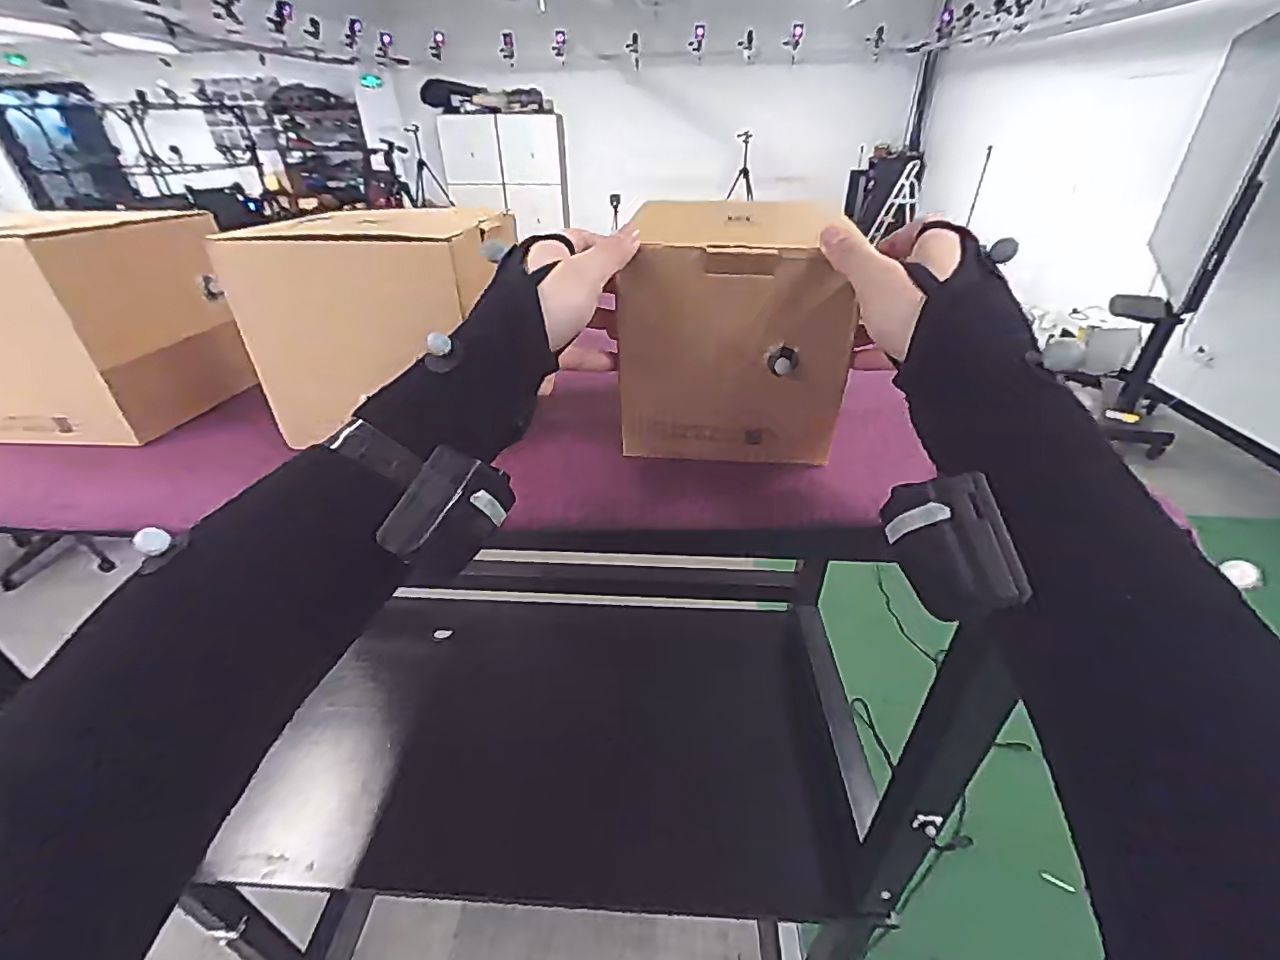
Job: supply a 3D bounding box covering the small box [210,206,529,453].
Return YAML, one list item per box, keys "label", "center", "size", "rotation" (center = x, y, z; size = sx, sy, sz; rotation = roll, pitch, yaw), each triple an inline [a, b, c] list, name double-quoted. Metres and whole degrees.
- label: "small box"
  center: [-0.203, -0.134, 0.471]
  size: [0.179, 0.176, 0.168]
  rotation: [2, 31, 3]
